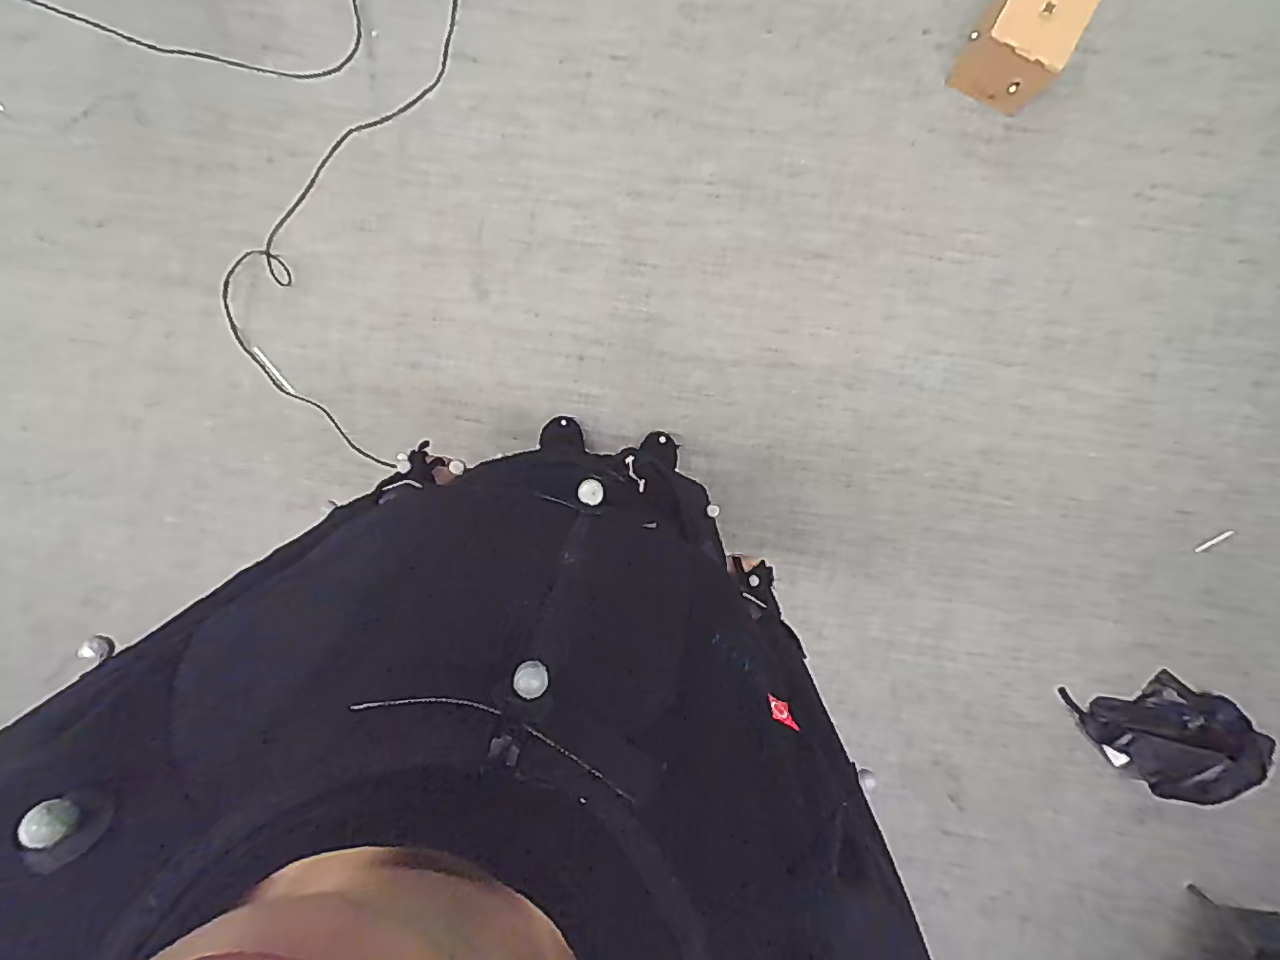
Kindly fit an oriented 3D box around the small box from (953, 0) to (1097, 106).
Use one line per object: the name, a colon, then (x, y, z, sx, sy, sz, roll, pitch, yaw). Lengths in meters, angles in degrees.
small box: (0.805, -0.946, 1.143, 0.168, 0.176, 0.179, 25, 97, -4)
